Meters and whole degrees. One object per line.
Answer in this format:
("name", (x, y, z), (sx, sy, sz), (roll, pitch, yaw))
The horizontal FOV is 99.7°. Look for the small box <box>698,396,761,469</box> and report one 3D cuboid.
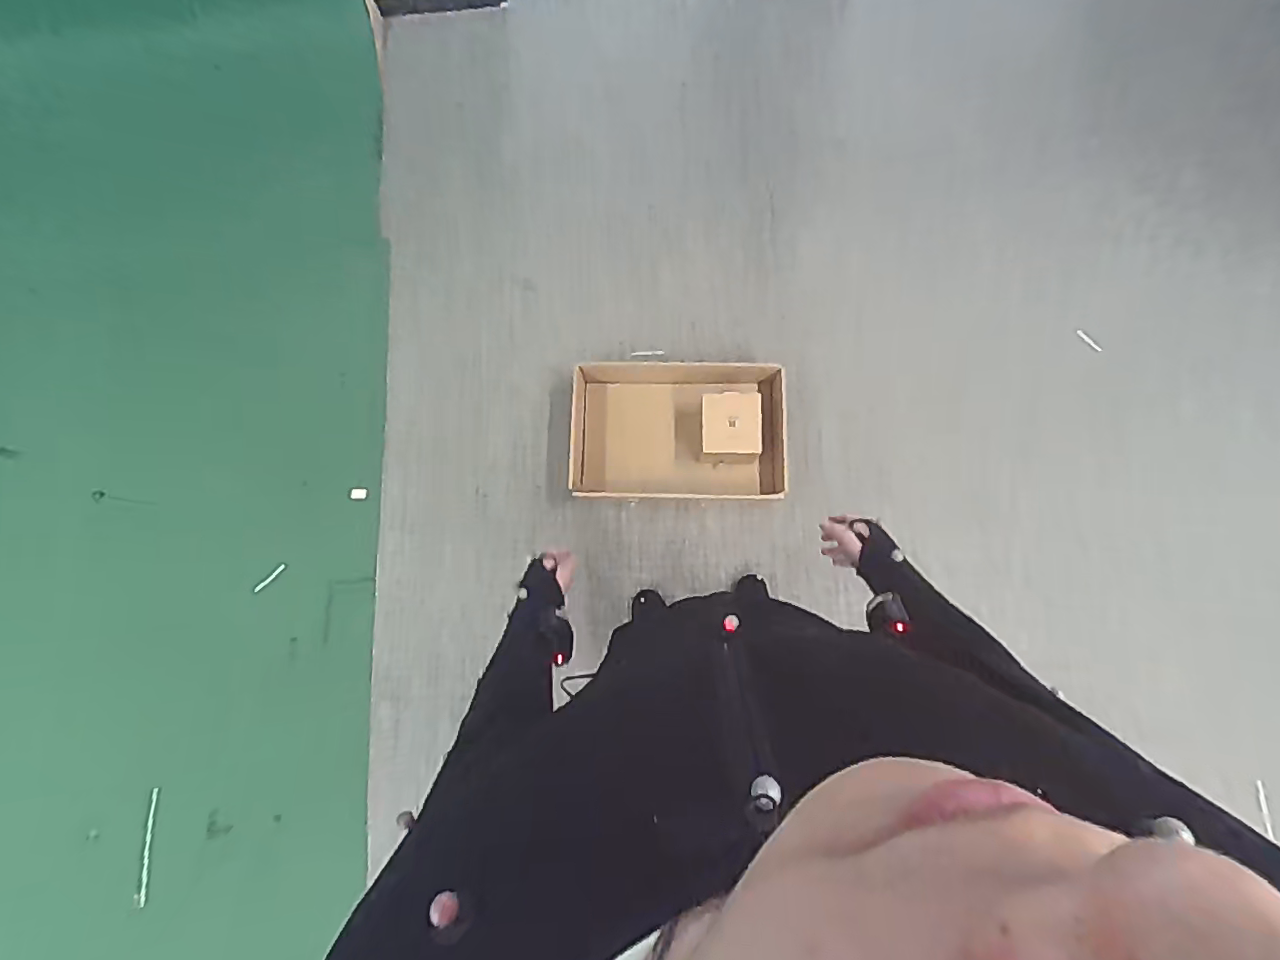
("small box", (0.256, -0.135, 1.575), (0.168, 0.176, 0.179), (1, 80, 3))
